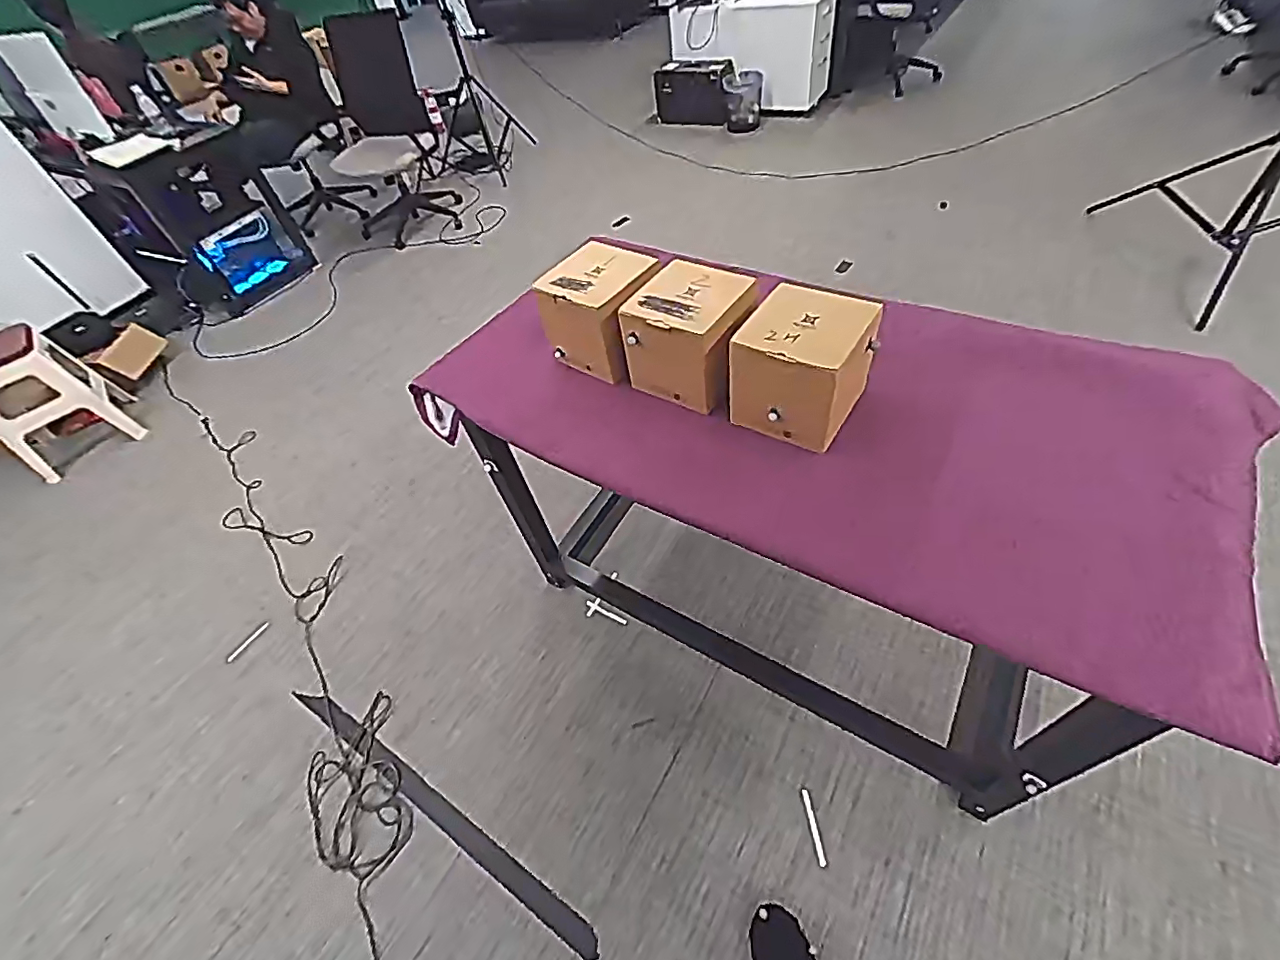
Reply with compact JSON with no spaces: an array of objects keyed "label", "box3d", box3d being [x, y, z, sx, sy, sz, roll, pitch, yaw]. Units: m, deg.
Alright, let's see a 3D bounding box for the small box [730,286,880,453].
[{"label":"small box","box3d":[0.254,-0.176,0.860,0.168,0.176,0.179,24,58,28]}]
